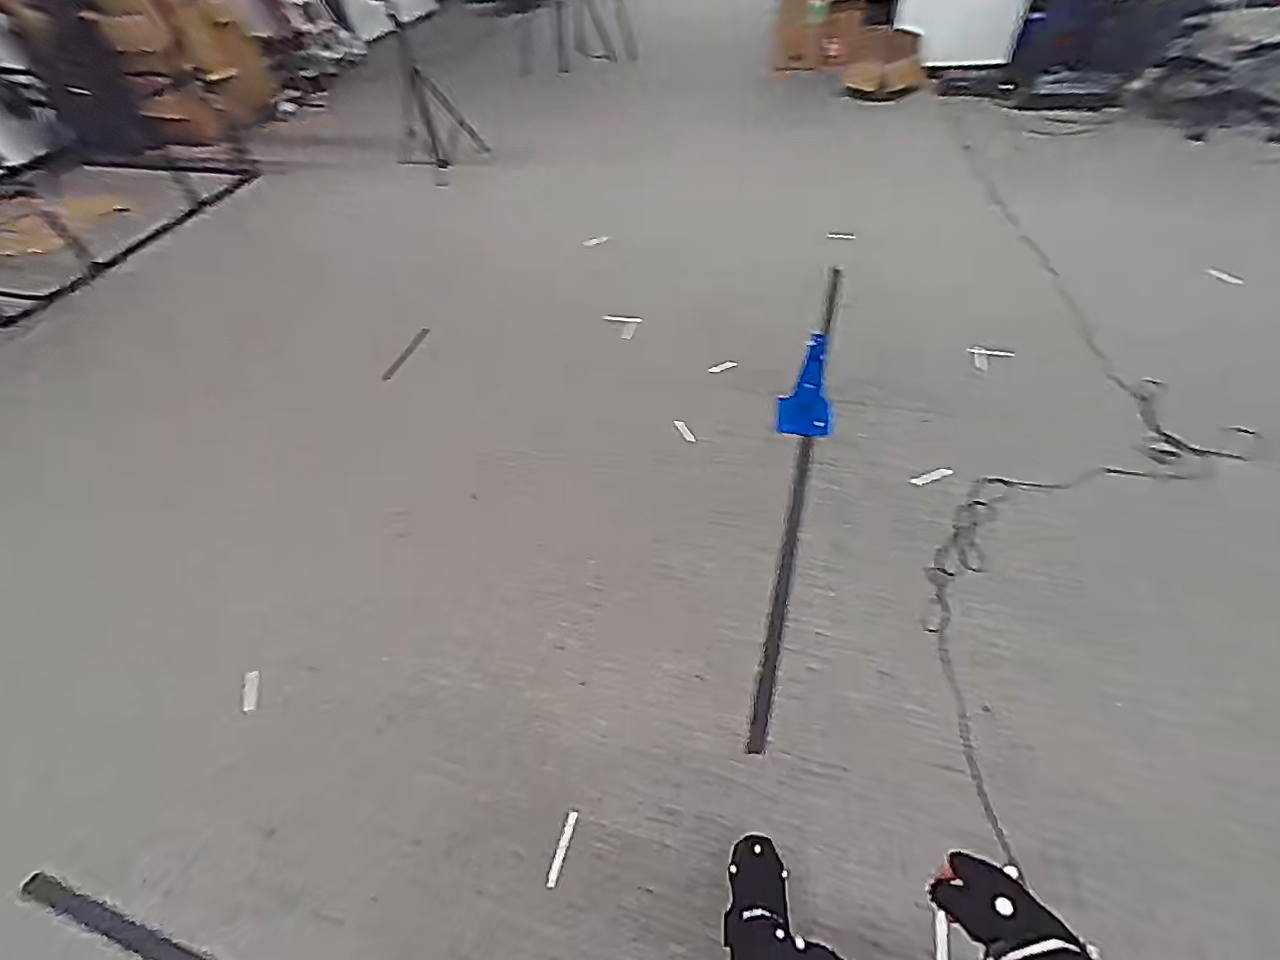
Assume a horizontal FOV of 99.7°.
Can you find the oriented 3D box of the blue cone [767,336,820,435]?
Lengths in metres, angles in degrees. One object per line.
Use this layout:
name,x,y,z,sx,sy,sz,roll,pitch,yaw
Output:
blue cone,0.567,-0.344,1.924,0.192,0.380,0.193,7,51,13
